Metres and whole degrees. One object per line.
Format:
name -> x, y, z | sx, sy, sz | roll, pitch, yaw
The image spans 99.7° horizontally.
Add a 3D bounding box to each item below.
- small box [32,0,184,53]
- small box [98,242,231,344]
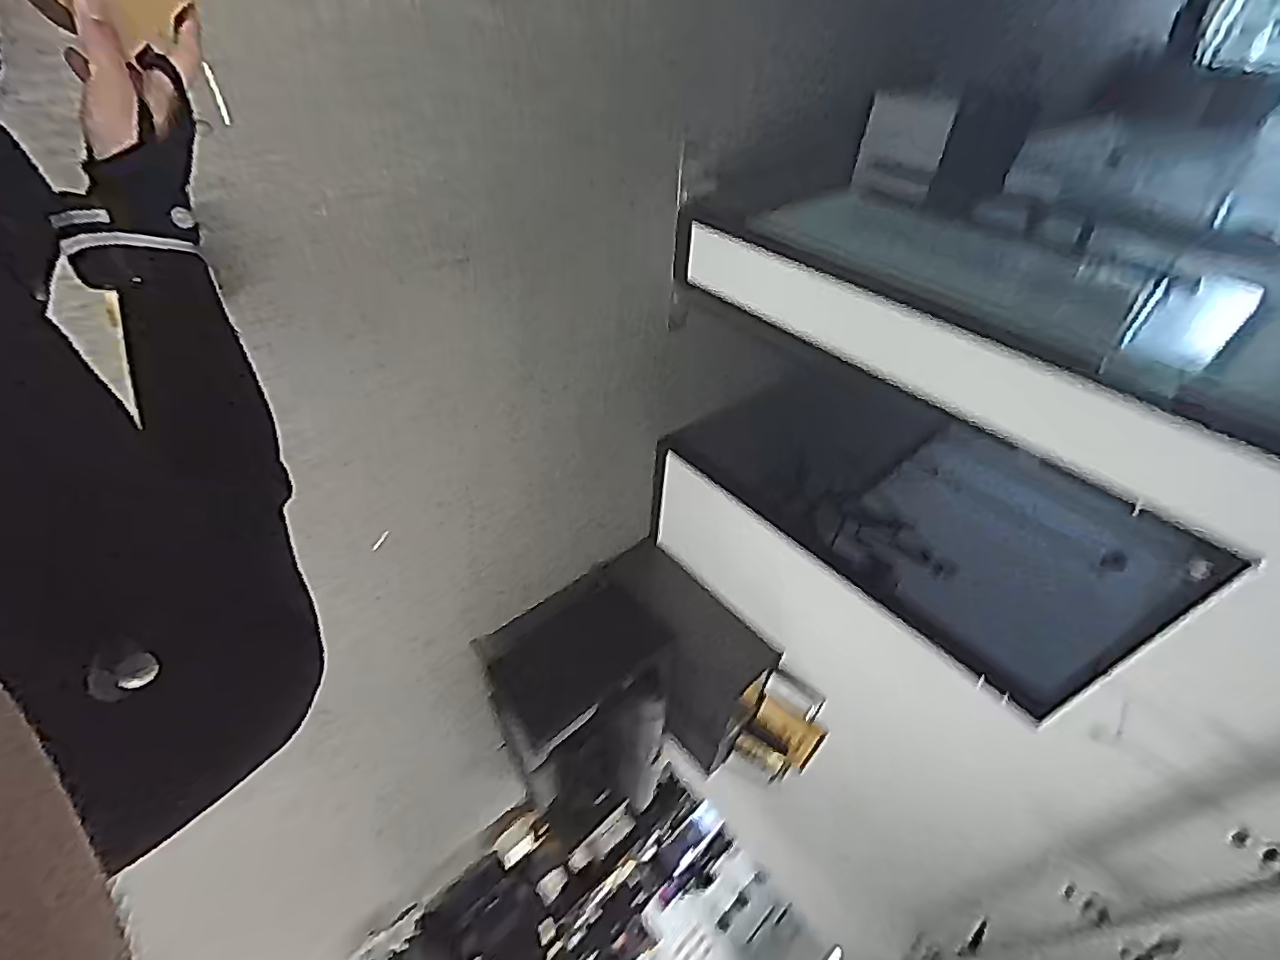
small box -> -0.424, -0.450, 0.371 | 0.168, 0.176, 0.179 | -53, 157, -6
small box -> -1.041, -0.415, 1.189 | 0.179, 0.176, 0.168 | -19, 135, -39
